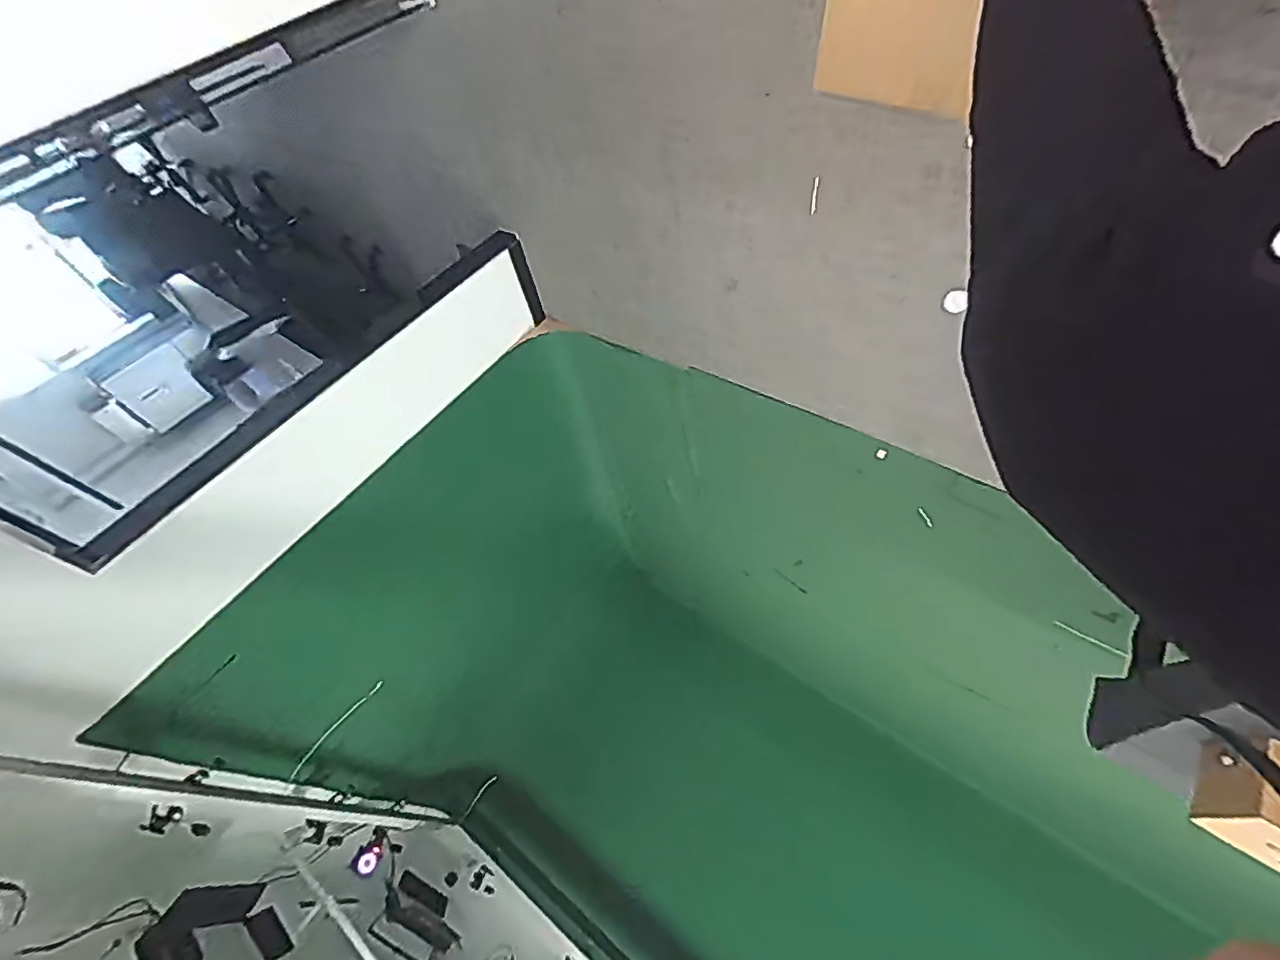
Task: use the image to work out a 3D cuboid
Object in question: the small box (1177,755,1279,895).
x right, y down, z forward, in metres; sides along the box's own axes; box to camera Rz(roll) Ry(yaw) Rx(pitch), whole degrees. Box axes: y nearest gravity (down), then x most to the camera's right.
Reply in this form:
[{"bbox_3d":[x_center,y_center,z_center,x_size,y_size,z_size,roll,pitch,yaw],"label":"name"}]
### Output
[{"bbox_3d":[1.215,0.666,1.044,0.179,0.176,0.168,31,154,20],"label":"small box"}]
